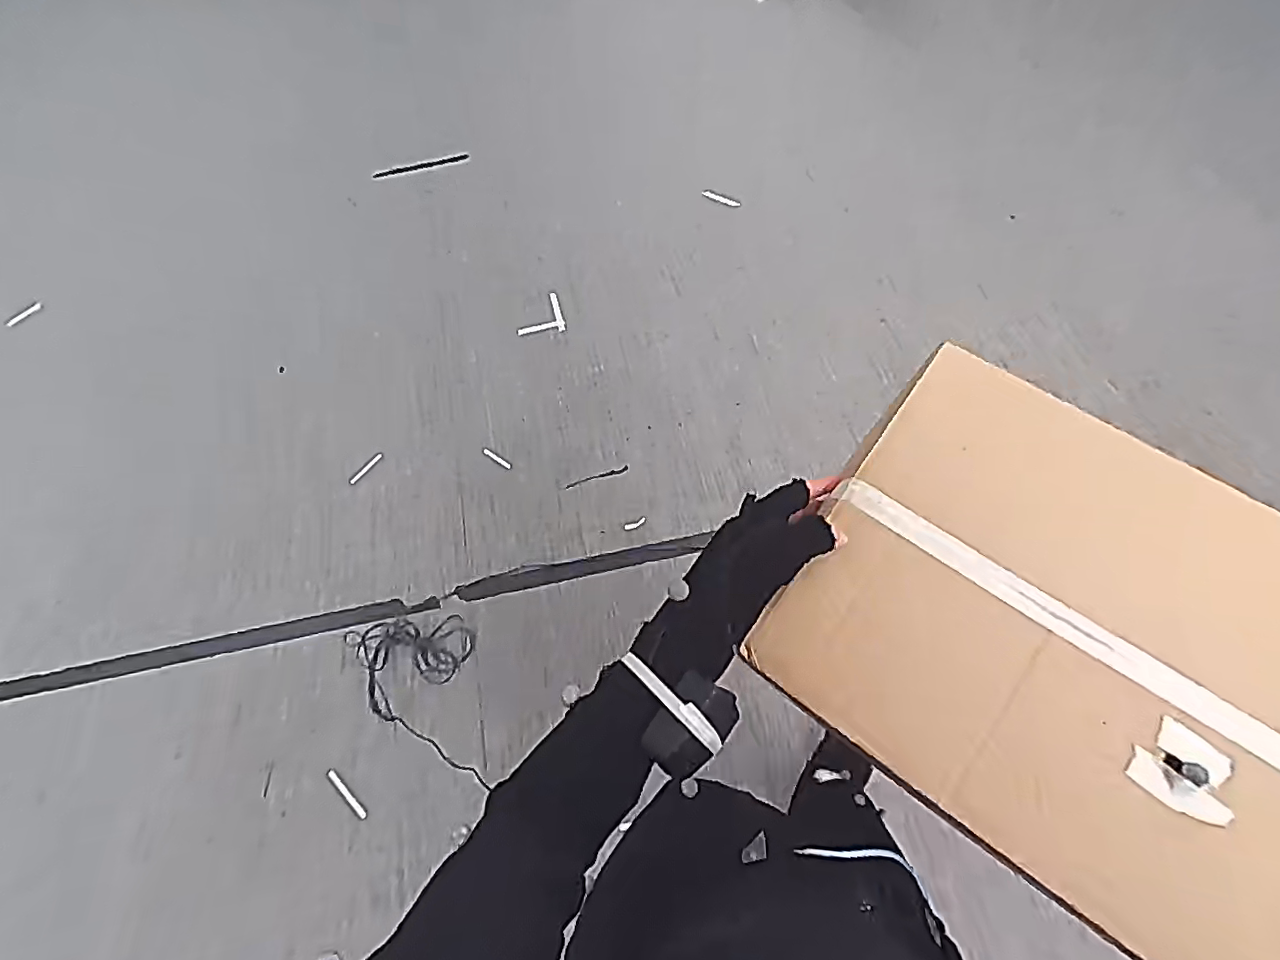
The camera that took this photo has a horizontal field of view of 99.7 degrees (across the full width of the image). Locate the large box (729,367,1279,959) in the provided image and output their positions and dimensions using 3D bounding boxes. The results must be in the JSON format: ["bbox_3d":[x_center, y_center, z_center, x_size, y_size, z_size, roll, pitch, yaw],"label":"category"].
[{"bbox_3d":[0.343,0.166,0.535,0.408,0.320,0.320,35,80,15],"label":"large box"}]
